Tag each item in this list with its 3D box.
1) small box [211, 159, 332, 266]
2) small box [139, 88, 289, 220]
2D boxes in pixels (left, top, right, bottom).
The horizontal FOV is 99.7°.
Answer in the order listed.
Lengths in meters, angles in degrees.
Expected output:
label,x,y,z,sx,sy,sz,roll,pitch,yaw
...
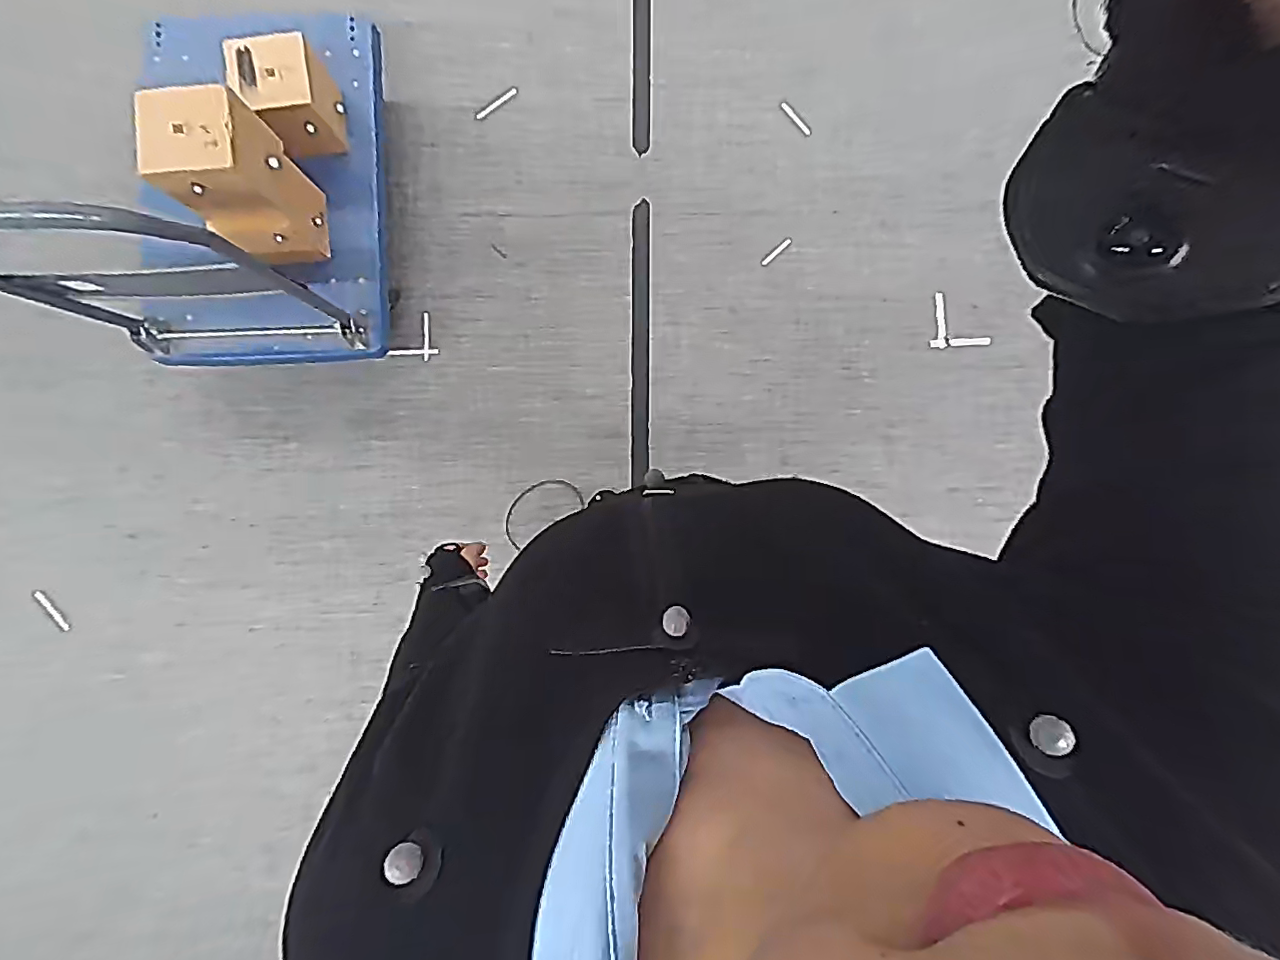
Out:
label,x,y,z,sx,sy,sz,roll,pitch,yaw
small box,-0.853,-0.616,1.259,0.179,0.176,0.168,-6,88,-2
small box,-0.852,-0.649,1.095,0.179,0.176,0.168,-5,88,-2
